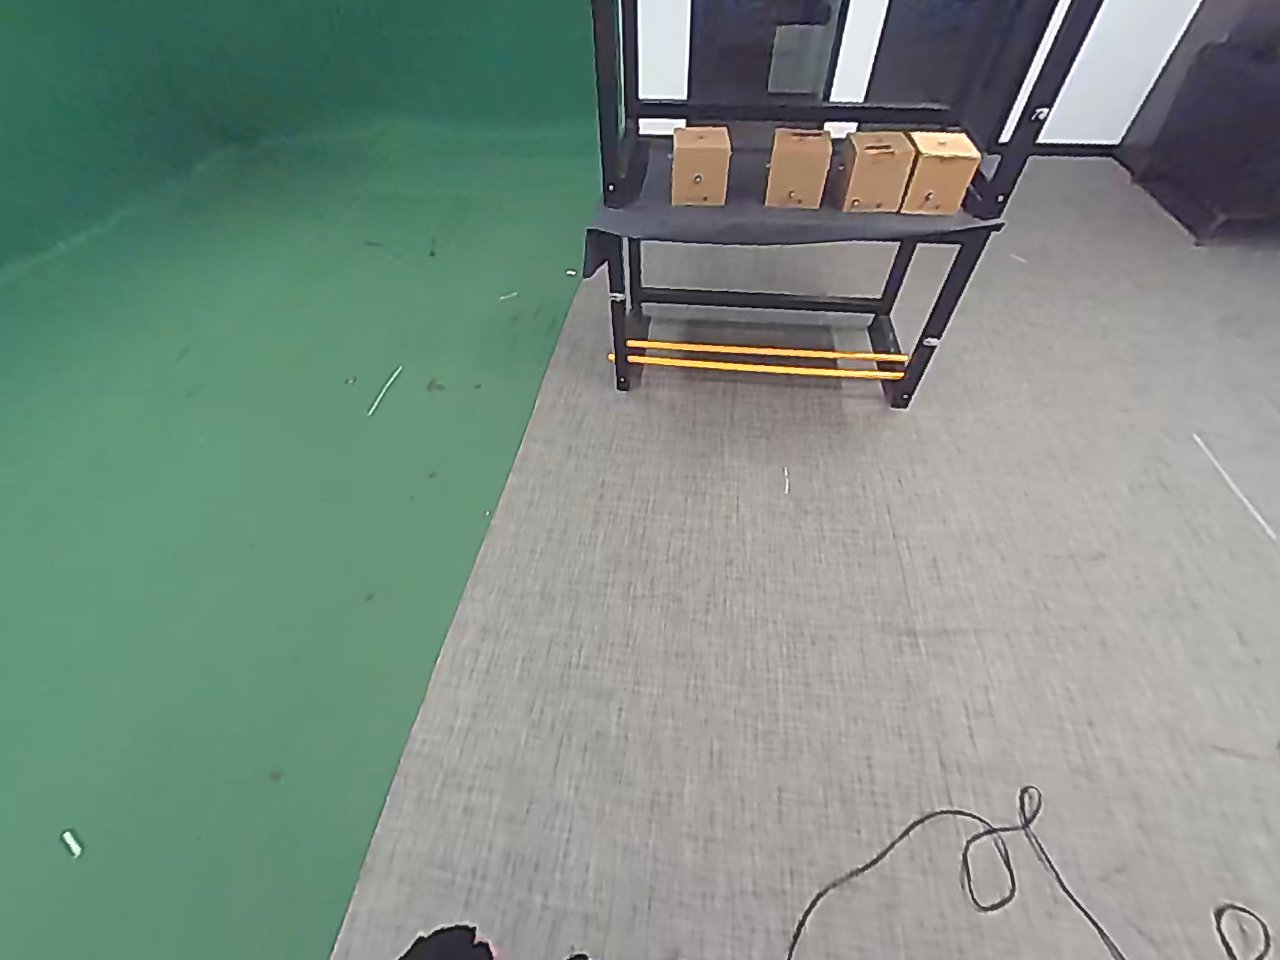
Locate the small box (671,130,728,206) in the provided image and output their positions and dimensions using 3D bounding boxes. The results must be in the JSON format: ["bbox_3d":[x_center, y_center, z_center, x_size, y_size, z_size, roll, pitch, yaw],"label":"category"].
[{"bbox_3d":[0.183,-0.979,1.699,0.168,0.176,0.179,1,49,1],"label":"small box"}]
